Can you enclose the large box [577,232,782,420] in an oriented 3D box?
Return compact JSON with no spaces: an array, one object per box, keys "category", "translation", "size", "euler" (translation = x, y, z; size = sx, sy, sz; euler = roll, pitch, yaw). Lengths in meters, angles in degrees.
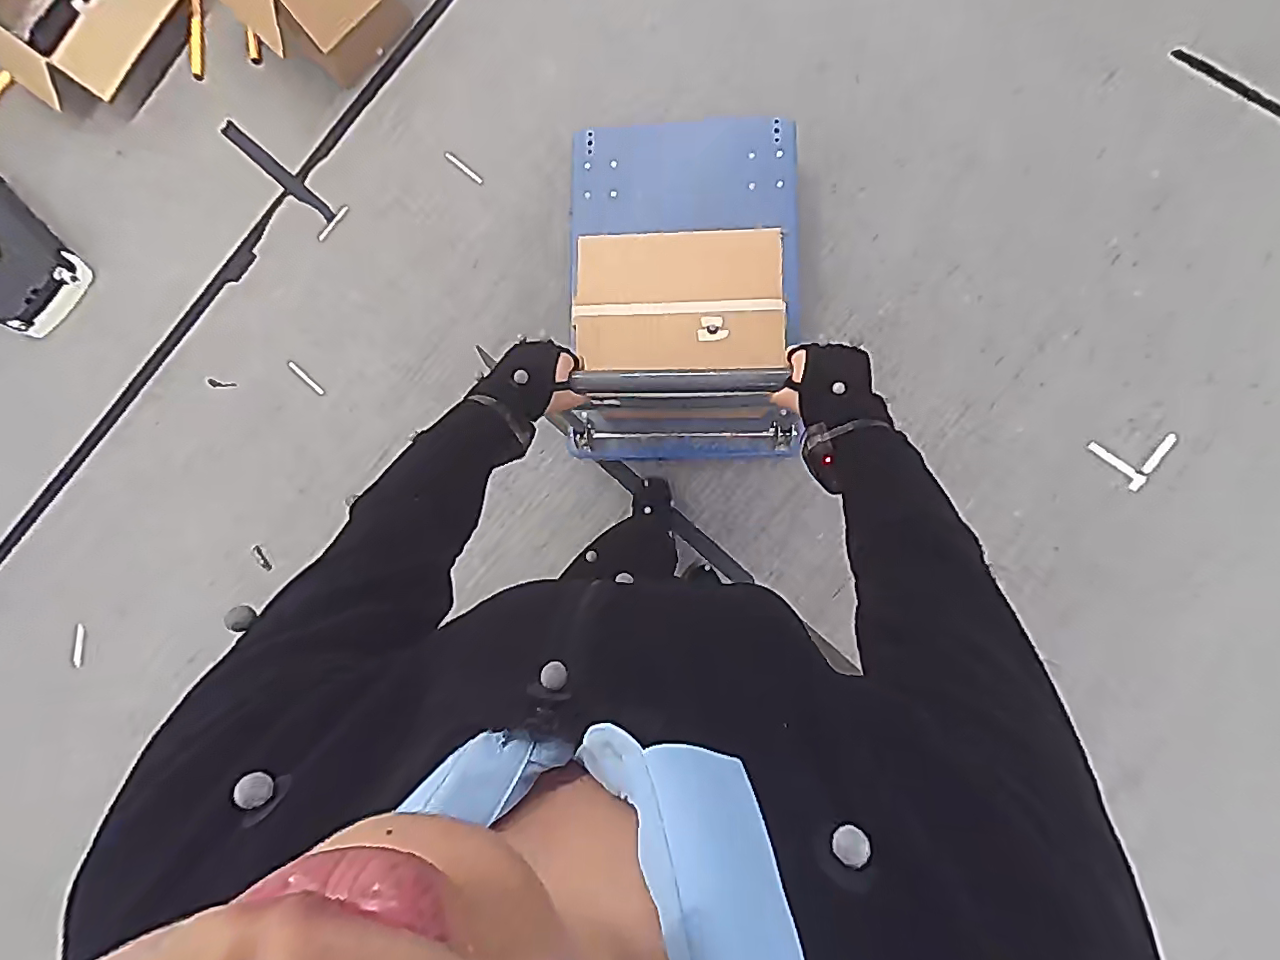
[{"category":"large box","translation":[0.082,-0.317,1.204],"size":[0.408,0.320,0.320],"euler":[0,86,4]}]
